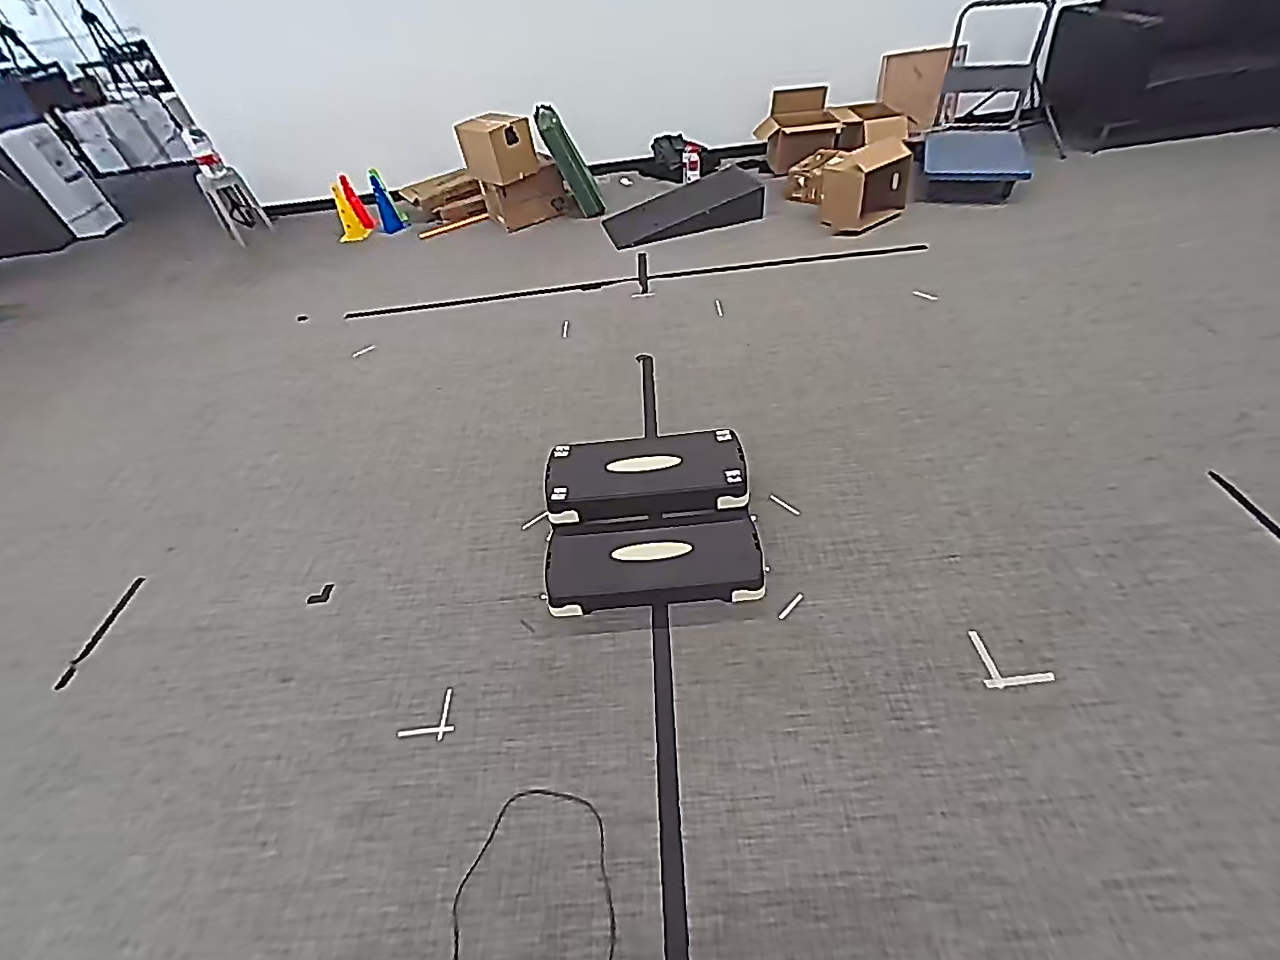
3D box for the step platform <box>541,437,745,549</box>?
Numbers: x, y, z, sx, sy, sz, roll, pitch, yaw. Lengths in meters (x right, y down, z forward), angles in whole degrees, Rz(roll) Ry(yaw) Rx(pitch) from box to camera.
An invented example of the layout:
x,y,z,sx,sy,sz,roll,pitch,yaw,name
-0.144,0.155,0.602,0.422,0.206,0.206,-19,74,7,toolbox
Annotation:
x,y,z,sx,sy,sz,roll,pitch,yaw,name
0.008,0.039,1.845,0.684,0.204,0.286,-6,47,2,step platform
